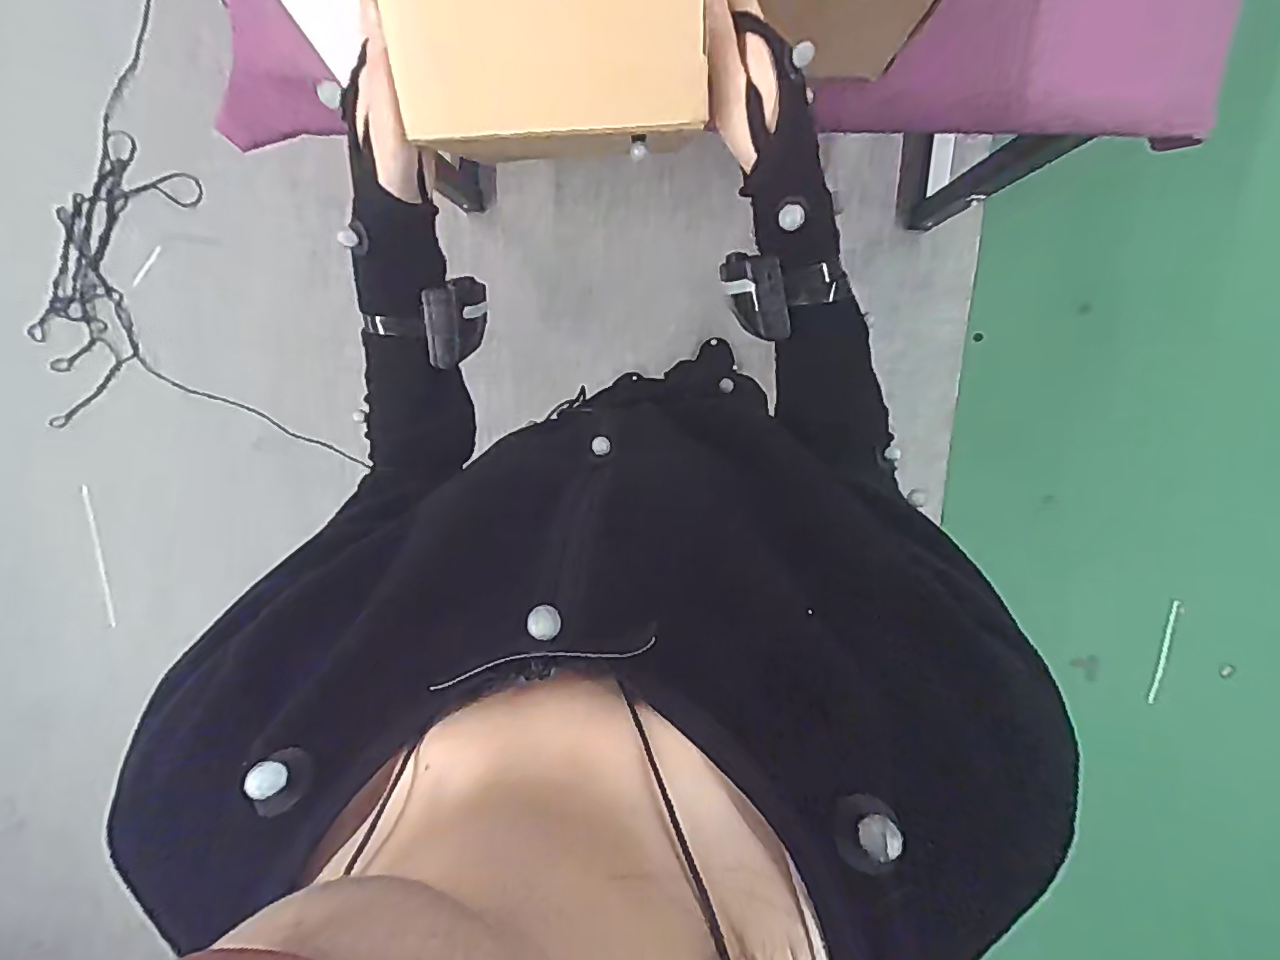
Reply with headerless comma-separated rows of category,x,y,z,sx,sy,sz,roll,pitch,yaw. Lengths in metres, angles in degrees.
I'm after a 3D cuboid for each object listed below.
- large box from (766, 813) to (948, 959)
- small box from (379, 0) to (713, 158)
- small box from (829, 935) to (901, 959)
large box,0.619,1.251,1.583,0.408,0.320,0.320,-12,101,4
small box,-0.052,-0.308,0.340,0.179,0.176,0.168,-4,117,-1
small box,0.574,1.274,1.338,0.168,0.176,0.179,-6,100,5
